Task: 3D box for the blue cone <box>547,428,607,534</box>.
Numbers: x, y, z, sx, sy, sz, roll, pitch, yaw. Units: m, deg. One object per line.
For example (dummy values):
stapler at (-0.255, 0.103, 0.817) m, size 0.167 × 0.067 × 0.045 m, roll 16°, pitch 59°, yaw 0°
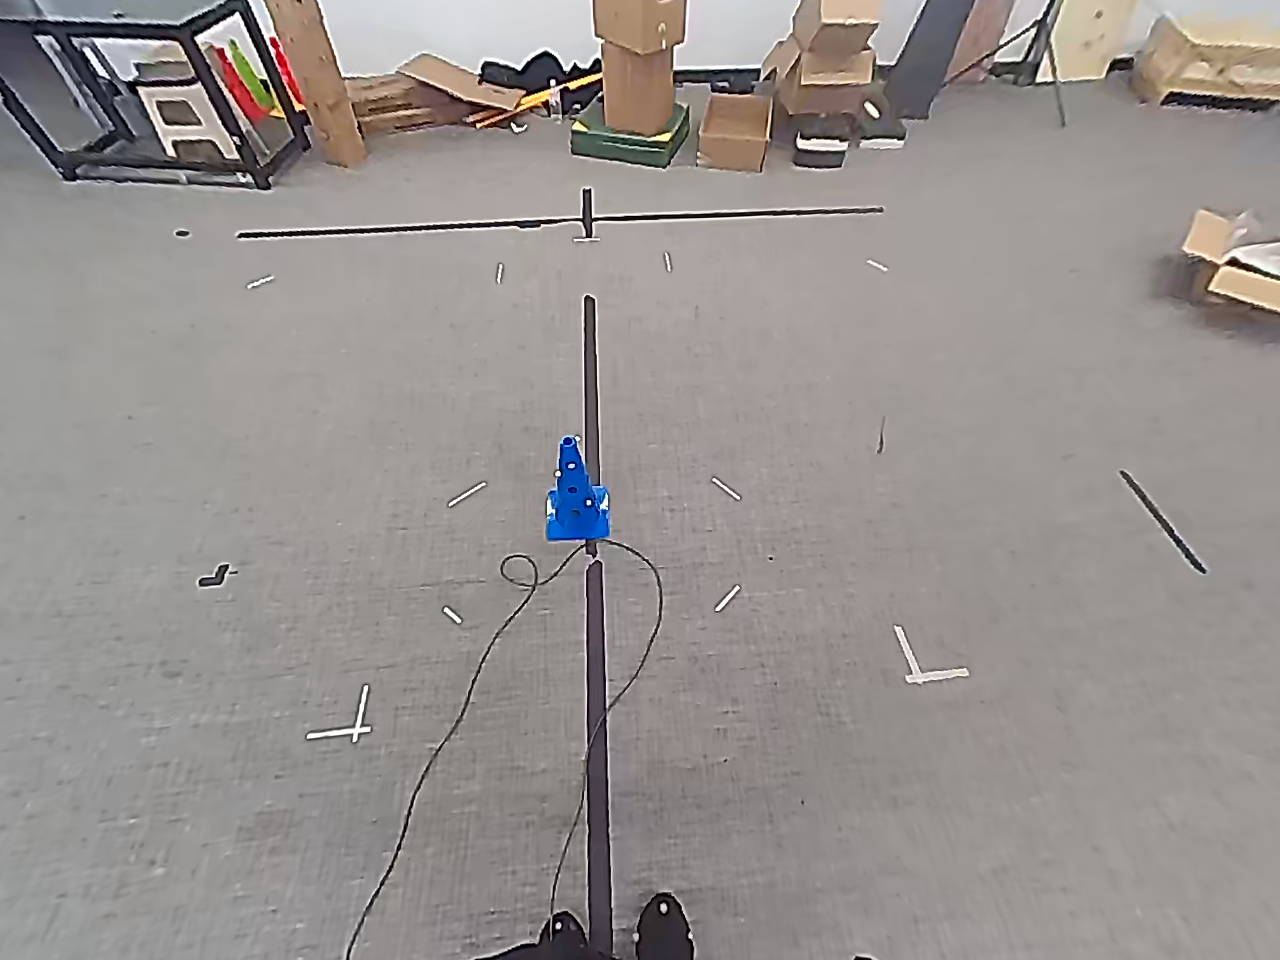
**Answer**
blue cone at (-0.201, -0.009, 1.591) m, size 0.193 × 0.380 × 0.192 m, roll -4°, pitch 54°, yaw -3°
